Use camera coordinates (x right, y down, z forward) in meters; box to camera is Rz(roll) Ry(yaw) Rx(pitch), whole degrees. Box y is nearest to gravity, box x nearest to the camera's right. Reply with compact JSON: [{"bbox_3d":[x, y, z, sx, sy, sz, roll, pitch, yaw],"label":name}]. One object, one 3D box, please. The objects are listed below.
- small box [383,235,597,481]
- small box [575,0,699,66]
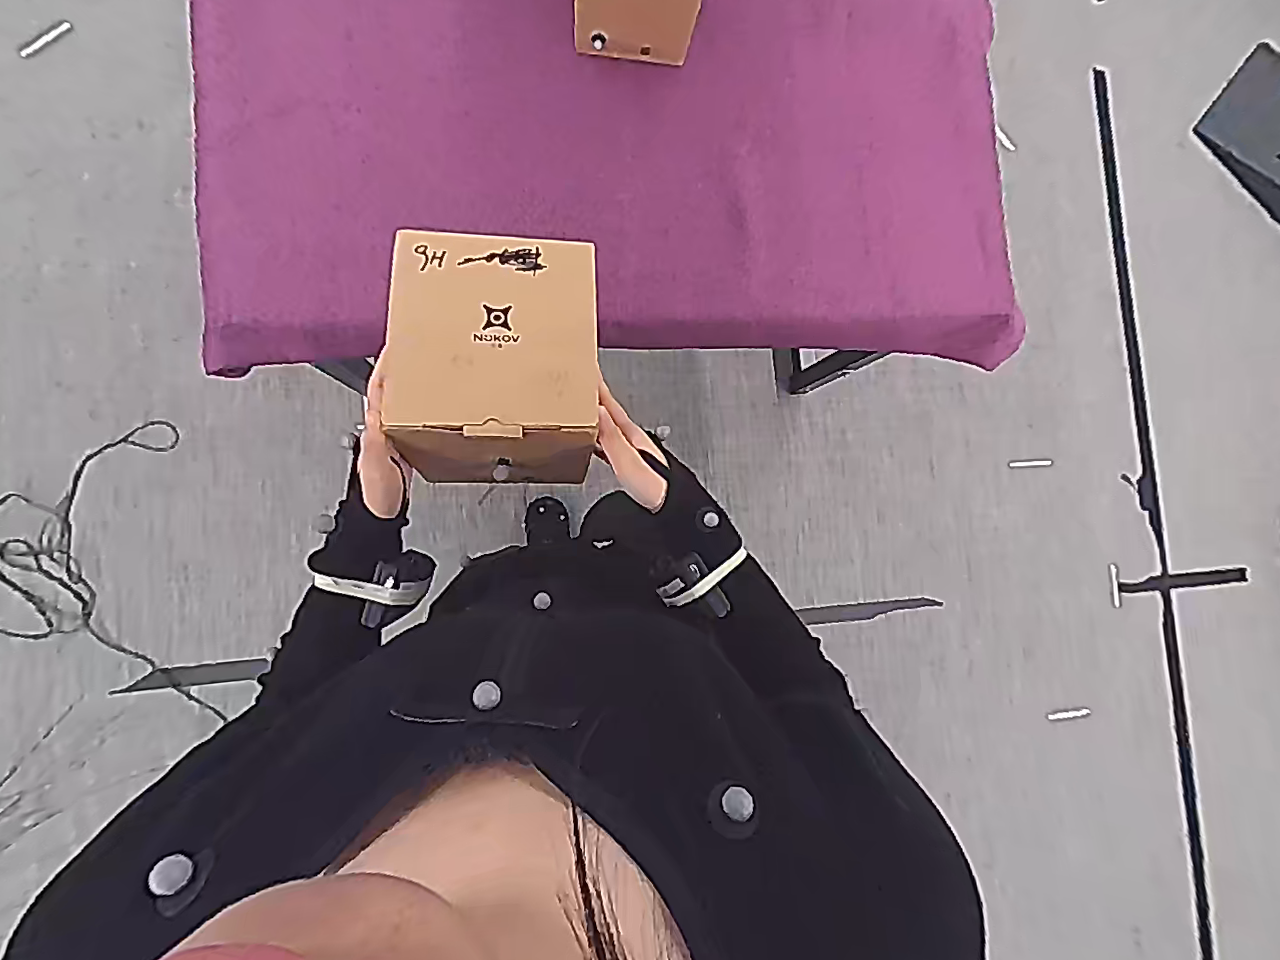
[{"bbox_3d":[-0.128,-0.100,0.517,0.168,0.176,0.179,1,75,-9],"label":"small box"},{"bbox_3d":[-0.003,-0.724,0.750,0.168,0.176,0.179,0,87,-10],"label":"small box"}]
